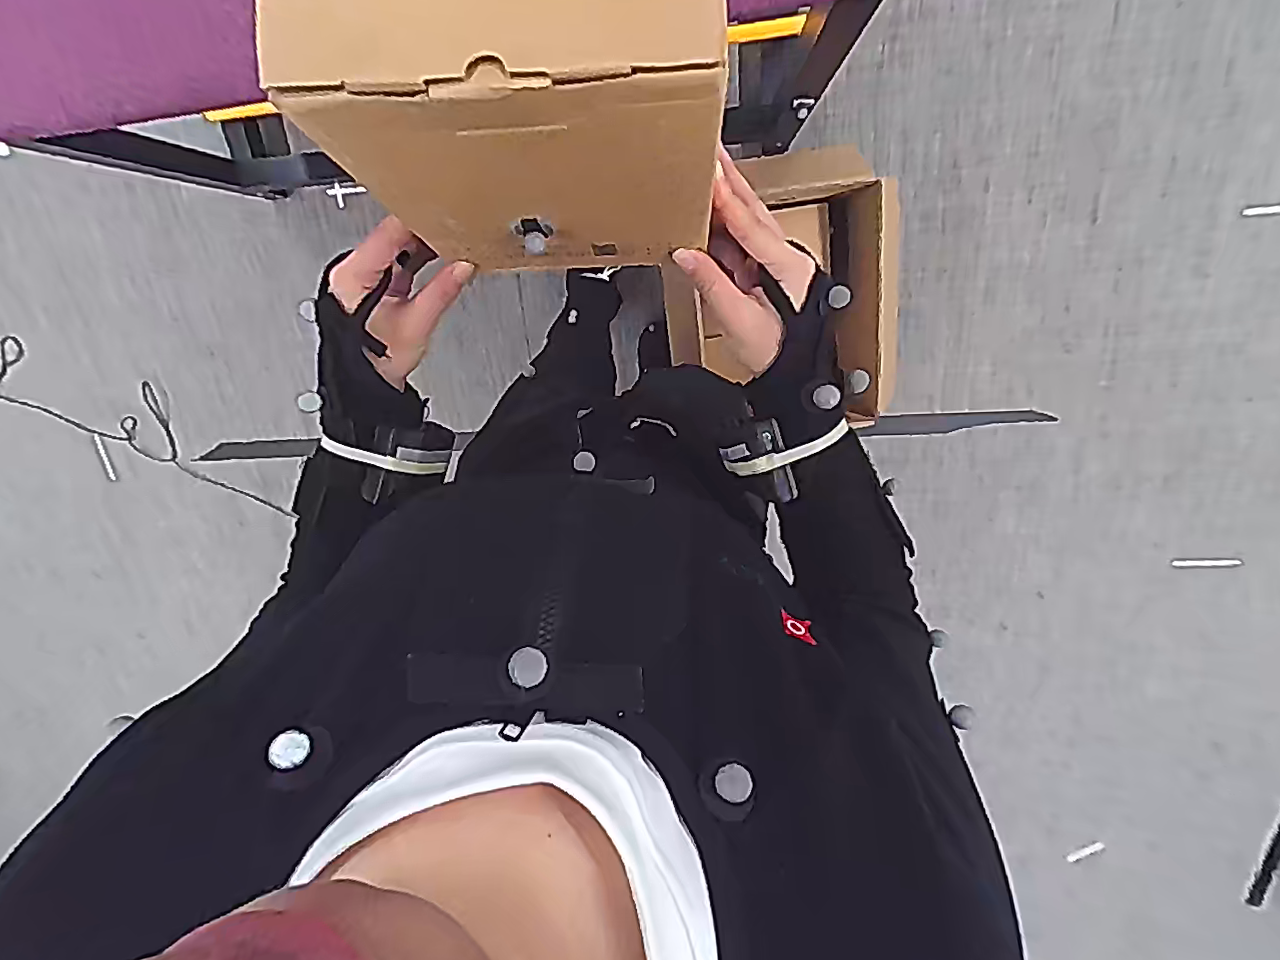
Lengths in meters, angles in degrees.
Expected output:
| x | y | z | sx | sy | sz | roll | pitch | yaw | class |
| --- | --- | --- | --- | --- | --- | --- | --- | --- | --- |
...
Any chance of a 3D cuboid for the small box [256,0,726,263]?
| x | y | z | sx | sy | sz | roll | pitch | yaw | class |
| --- | --- | --- | --- | --- | --- | --- | --- | --- | --- |
| -0.047 | -0.227 | 0.265 | 0.168 | 0.176 | 0.179 | -1 | 91 | 5 | small box |
